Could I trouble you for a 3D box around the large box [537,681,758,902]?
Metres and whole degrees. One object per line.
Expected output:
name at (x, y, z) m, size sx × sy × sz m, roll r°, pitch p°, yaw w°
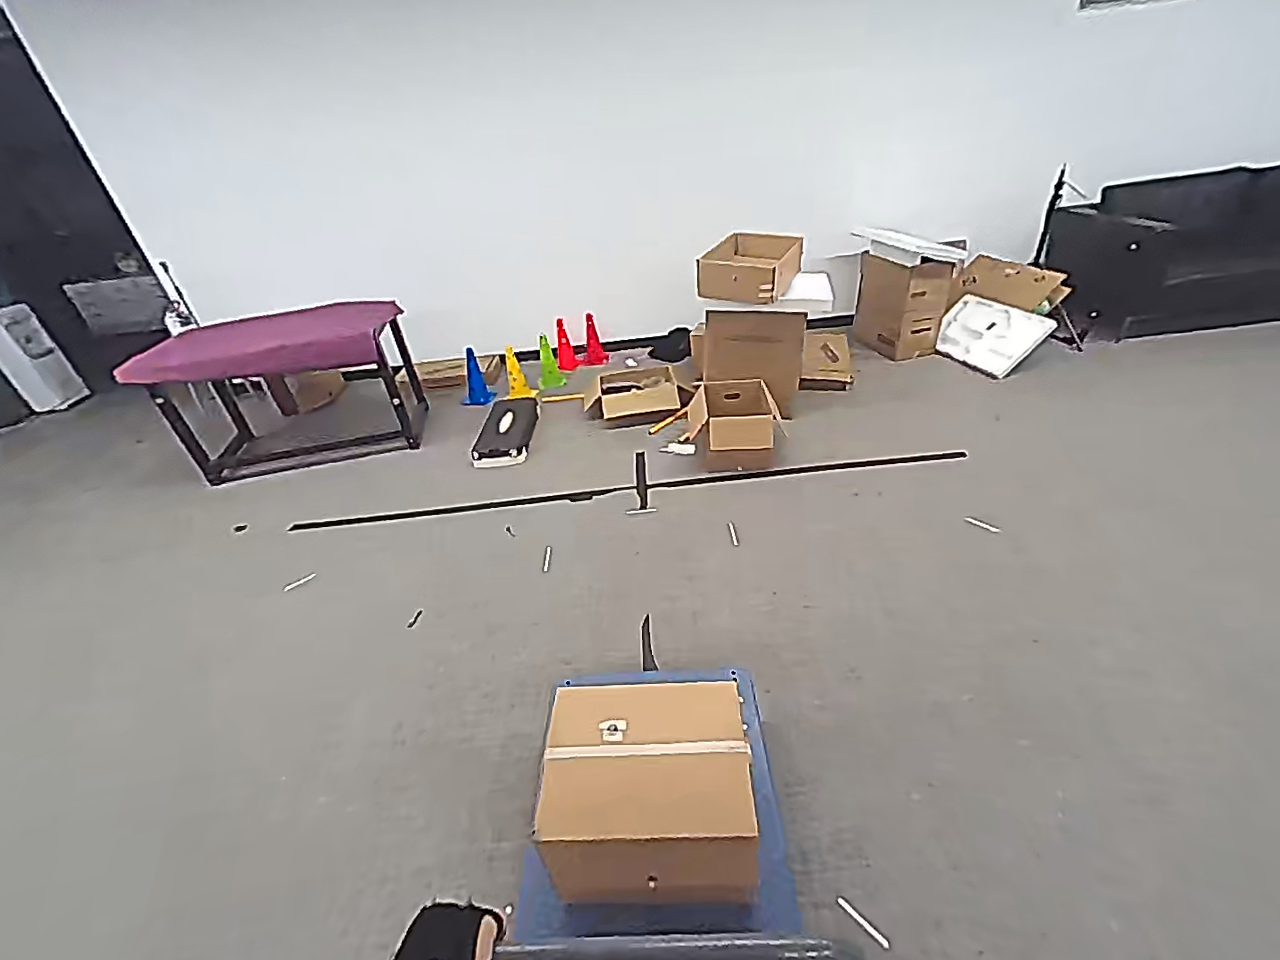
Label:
large box at (0.029, 0.673, 1.173) m, size 0.408 × 0.320 × 0.320 m, roll -5°, pitch 33°, yaw 4°
